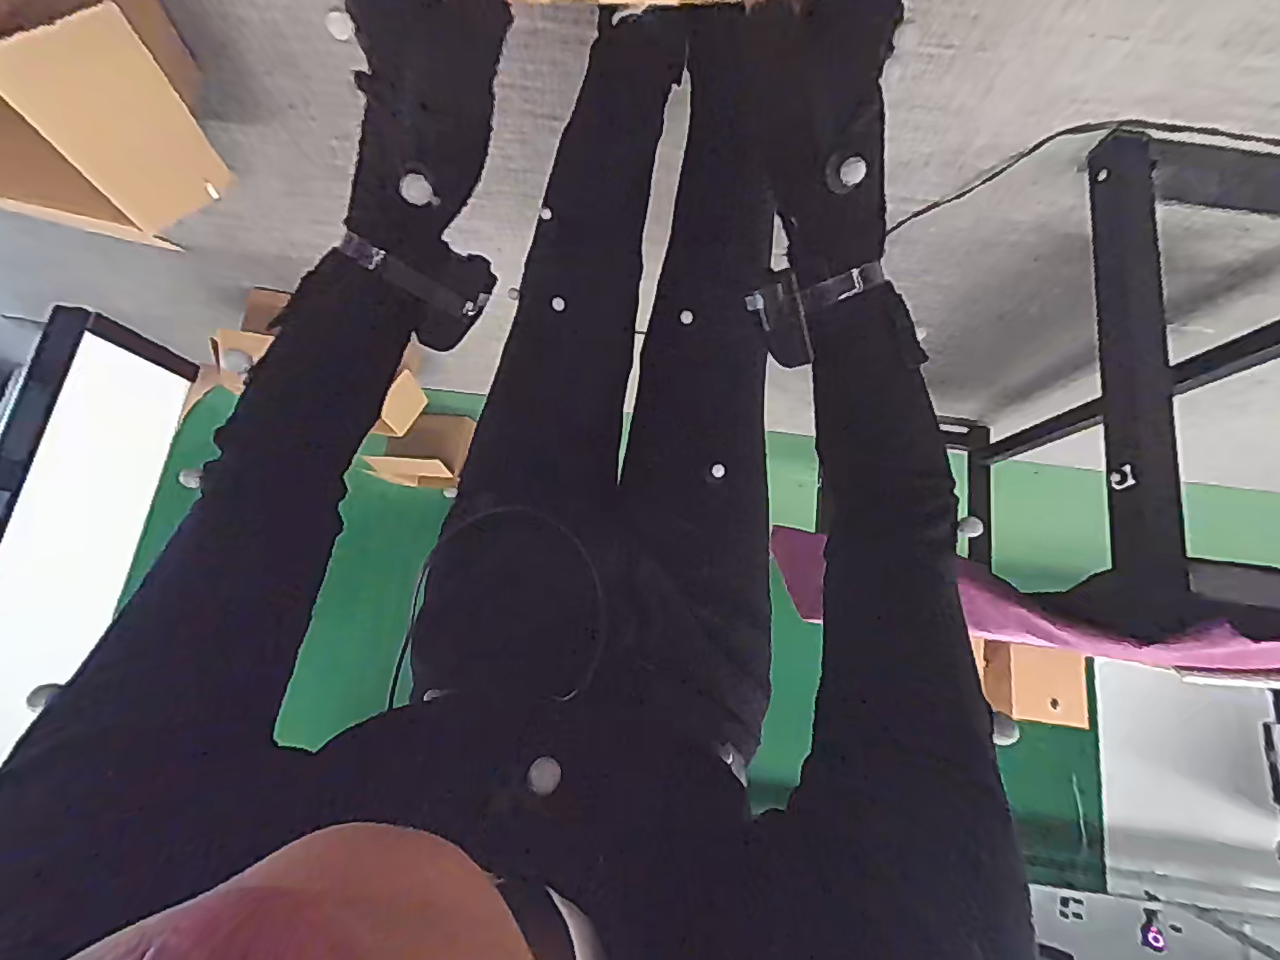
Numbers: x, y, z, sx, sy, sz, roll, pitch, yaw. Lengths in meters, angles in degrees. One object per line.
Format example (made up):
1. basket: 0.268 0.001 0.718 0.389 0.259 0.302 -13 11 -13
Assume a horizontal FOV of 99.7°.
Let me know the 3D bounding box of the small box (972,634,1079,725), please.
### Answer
1. small box: 0.910 0.474 1.305 0.179 0.176 0.168 9 167 -1
